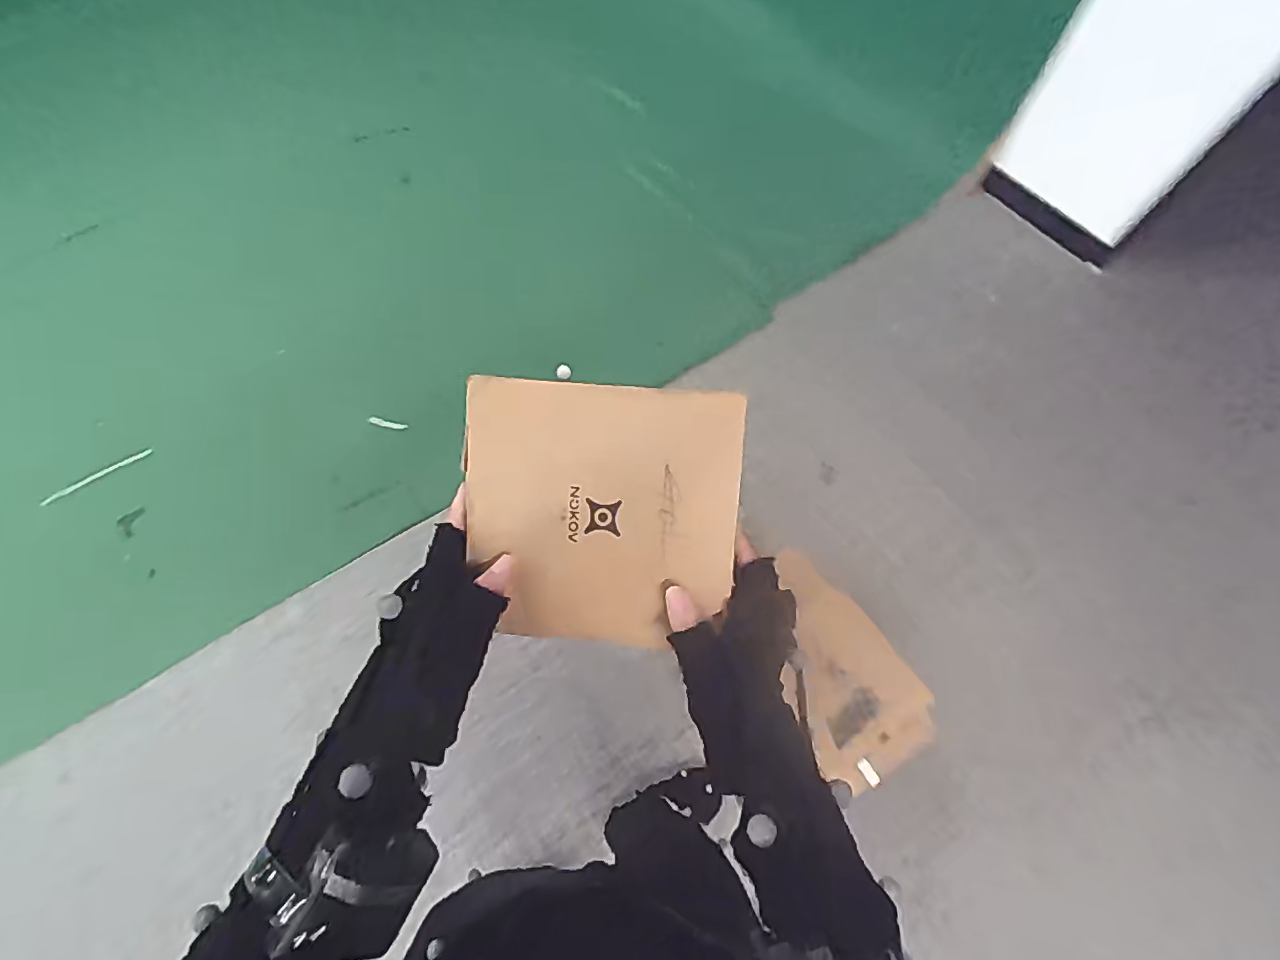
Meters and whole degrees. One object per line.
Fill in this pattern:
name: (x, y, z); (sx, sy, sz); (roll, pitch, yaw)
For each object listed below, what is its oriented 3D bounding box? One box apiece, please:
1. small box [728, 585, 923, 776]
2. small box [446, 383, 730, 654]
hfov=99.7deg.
small box: (0.242, 0.276, 0.756); (0.168, 0.176, 0.179); (-31, 69, -10)
small box: (-0.031, 0.015, 0.416); (0.179, 0.176, 0.168); (2, 99, 3)
